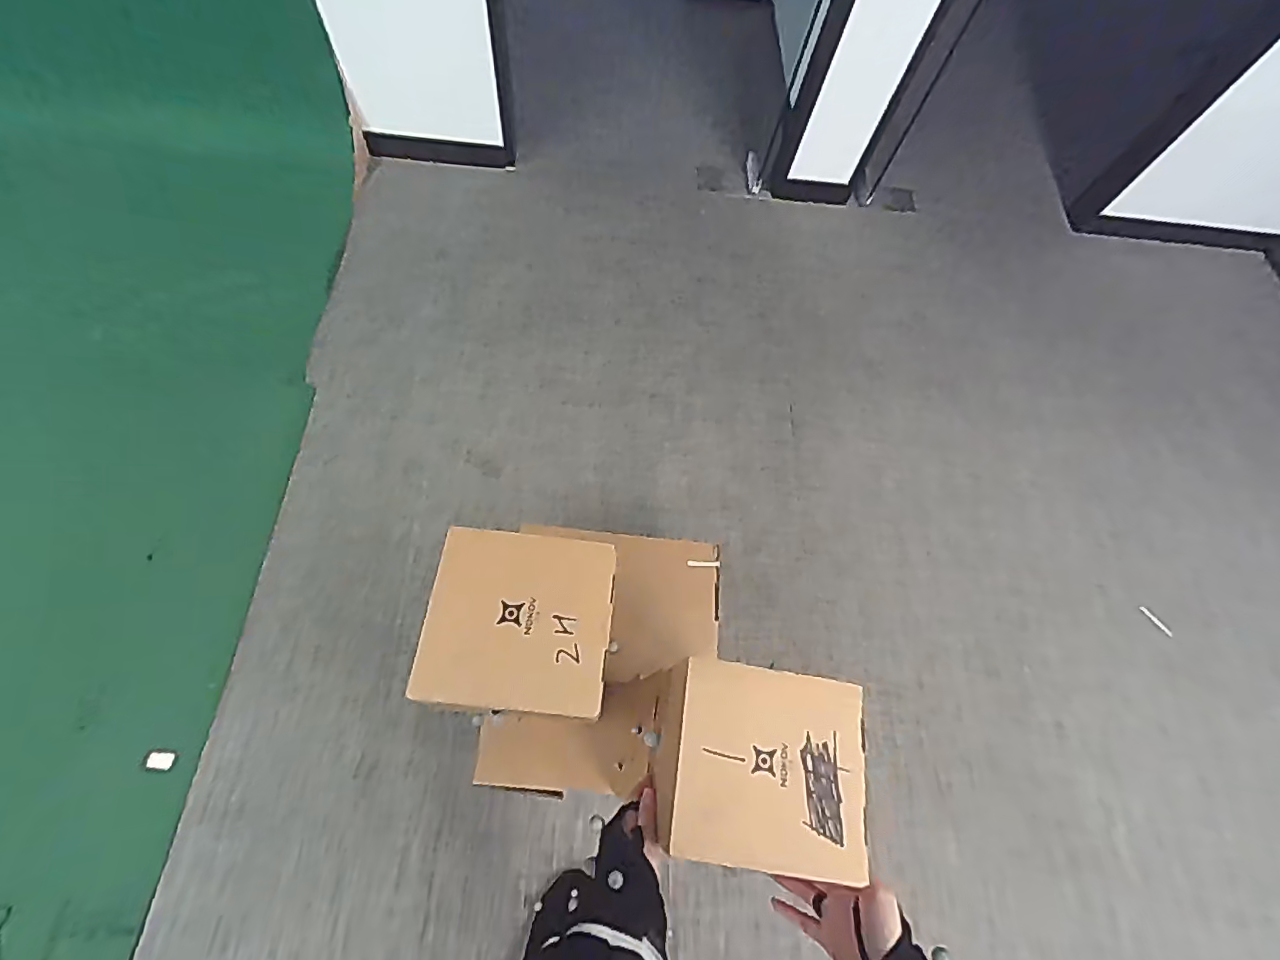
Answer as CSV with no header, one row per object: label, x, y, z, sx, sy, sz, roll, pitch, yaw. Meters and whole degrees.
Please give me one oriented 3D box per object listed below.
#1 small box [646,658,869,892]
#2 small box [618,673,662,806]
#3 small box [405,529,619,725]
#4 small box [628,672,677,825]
small box,0.111,0.291,0.555,0.179,0.176,0.168,10,64,-2
small box,0.061,0.417,0.853,0.168,0.176,0.179,10,63,-3
small box,-0.121,0.166,0.584,0.179,0.176,0.168,7,64,-2
small box,0.089,0.357,0.704,0.179,0.176,0.168,10,64,-2
